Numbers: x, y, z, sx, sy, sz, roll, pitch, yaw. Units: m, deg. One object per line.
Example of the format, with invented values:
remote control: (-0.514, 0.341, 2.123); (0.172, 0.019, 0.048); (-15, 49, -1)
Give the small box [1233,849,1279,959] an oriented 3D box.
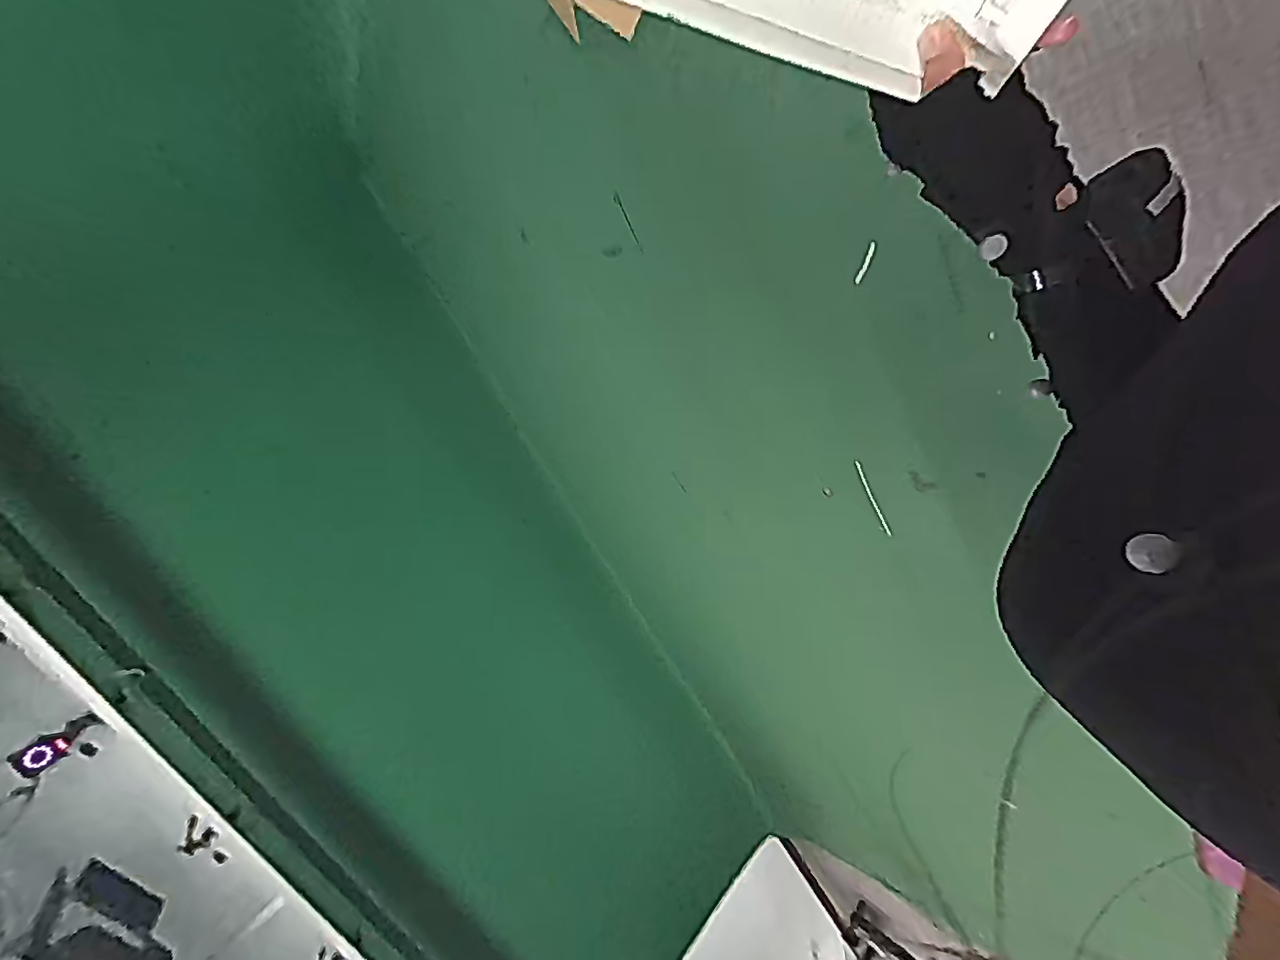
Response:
small box: (0.755, 0.541, 0.561); (0.168, 0.176, 0.179); (-4, 119, 58)
